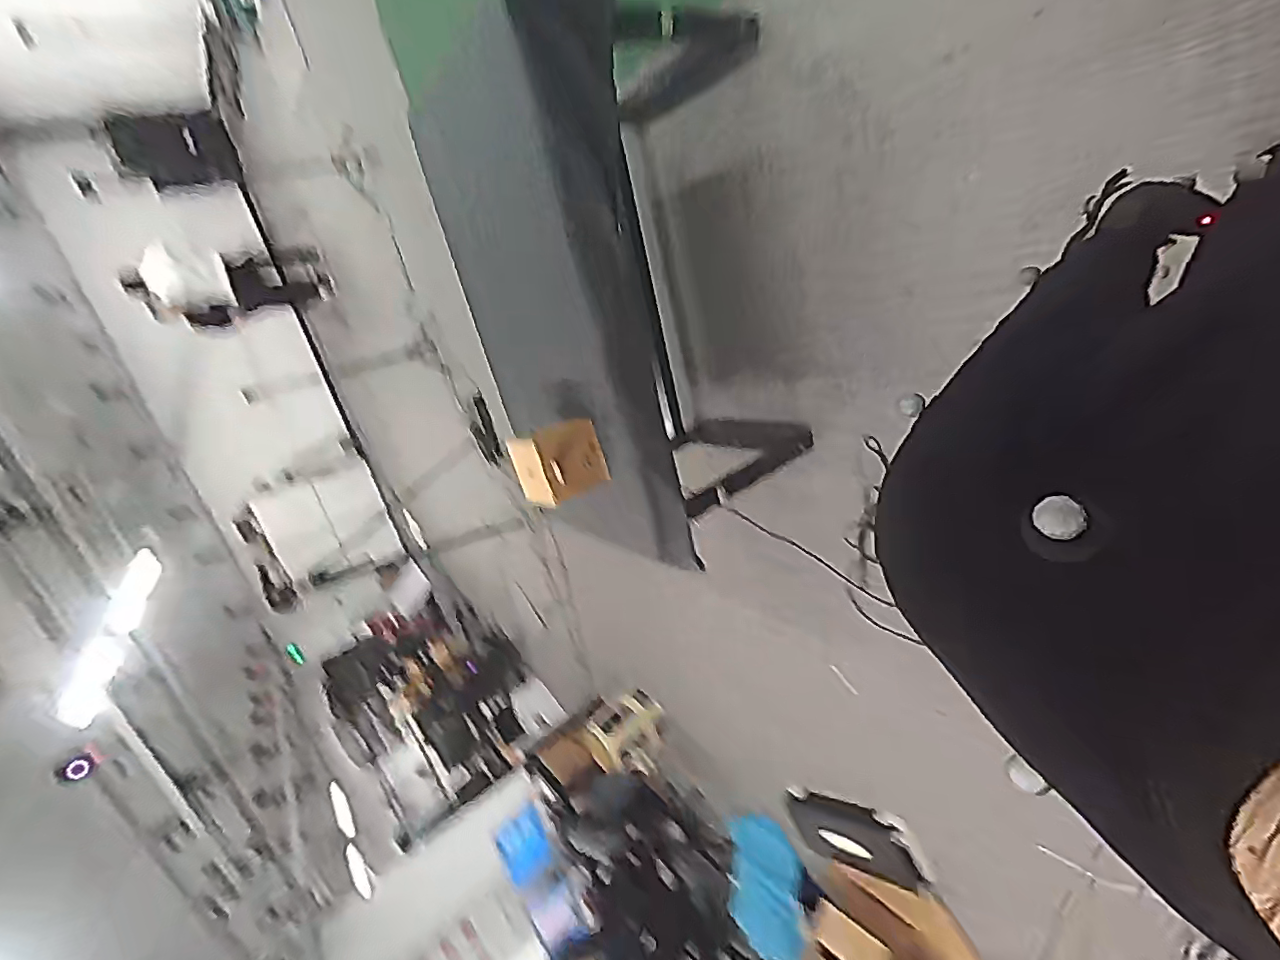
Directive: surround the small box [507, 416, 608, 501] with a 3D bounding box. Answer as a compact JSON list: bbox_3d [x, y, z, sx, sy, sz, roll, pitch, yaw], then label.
[{"bbox_3d":[-0.207,-0.060,1.364,0.179,0.176,0.168,6,116,54],"label":"small box"}]
